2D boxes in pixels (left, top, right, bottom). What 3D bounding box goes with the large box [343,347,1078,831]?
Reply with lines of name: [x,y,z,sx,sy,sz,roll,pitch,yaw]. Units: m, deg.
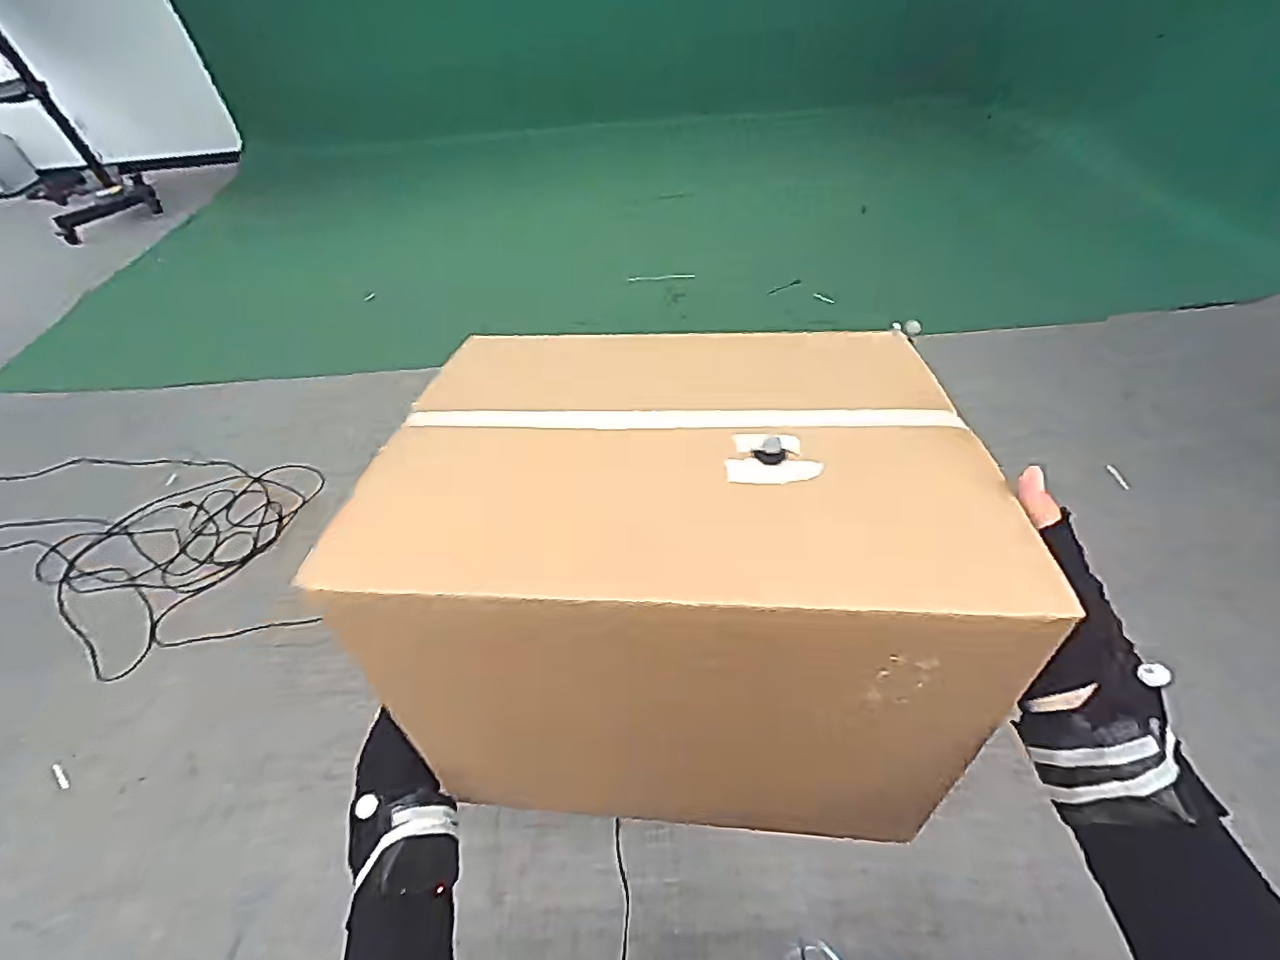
large box: [0.042,0.084,0.496,0.408,0.320,0.320,2,40,5]
